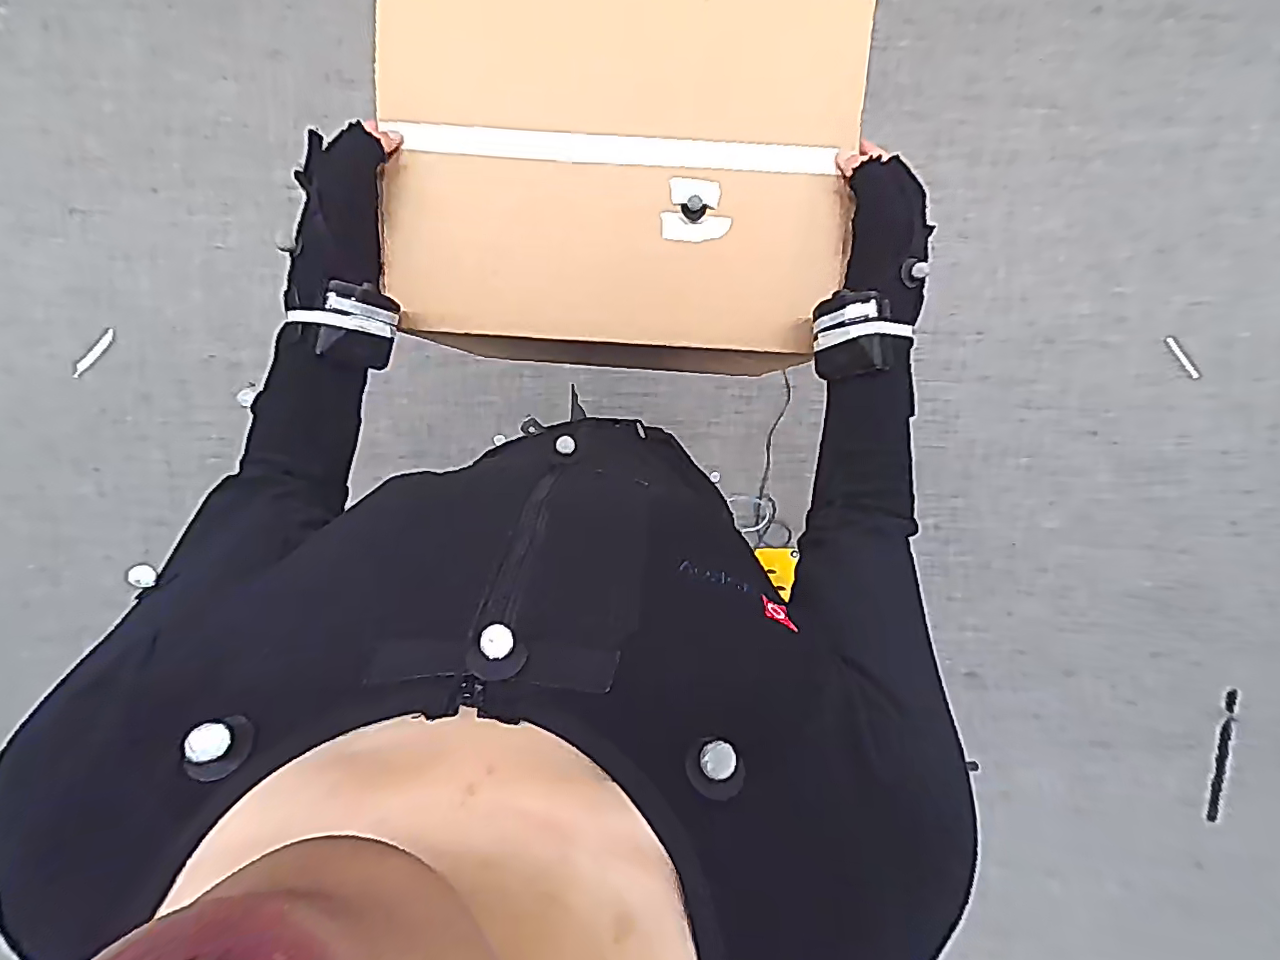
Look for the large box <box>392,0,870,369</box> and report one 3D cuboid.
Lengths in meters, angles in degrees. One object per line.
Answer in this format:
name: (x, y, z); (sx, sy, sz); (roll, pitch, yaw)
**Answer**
large box: (-0.016, -0.300, 0.609); (0.408, 0.320, 0.320); (3, 98, -1)
